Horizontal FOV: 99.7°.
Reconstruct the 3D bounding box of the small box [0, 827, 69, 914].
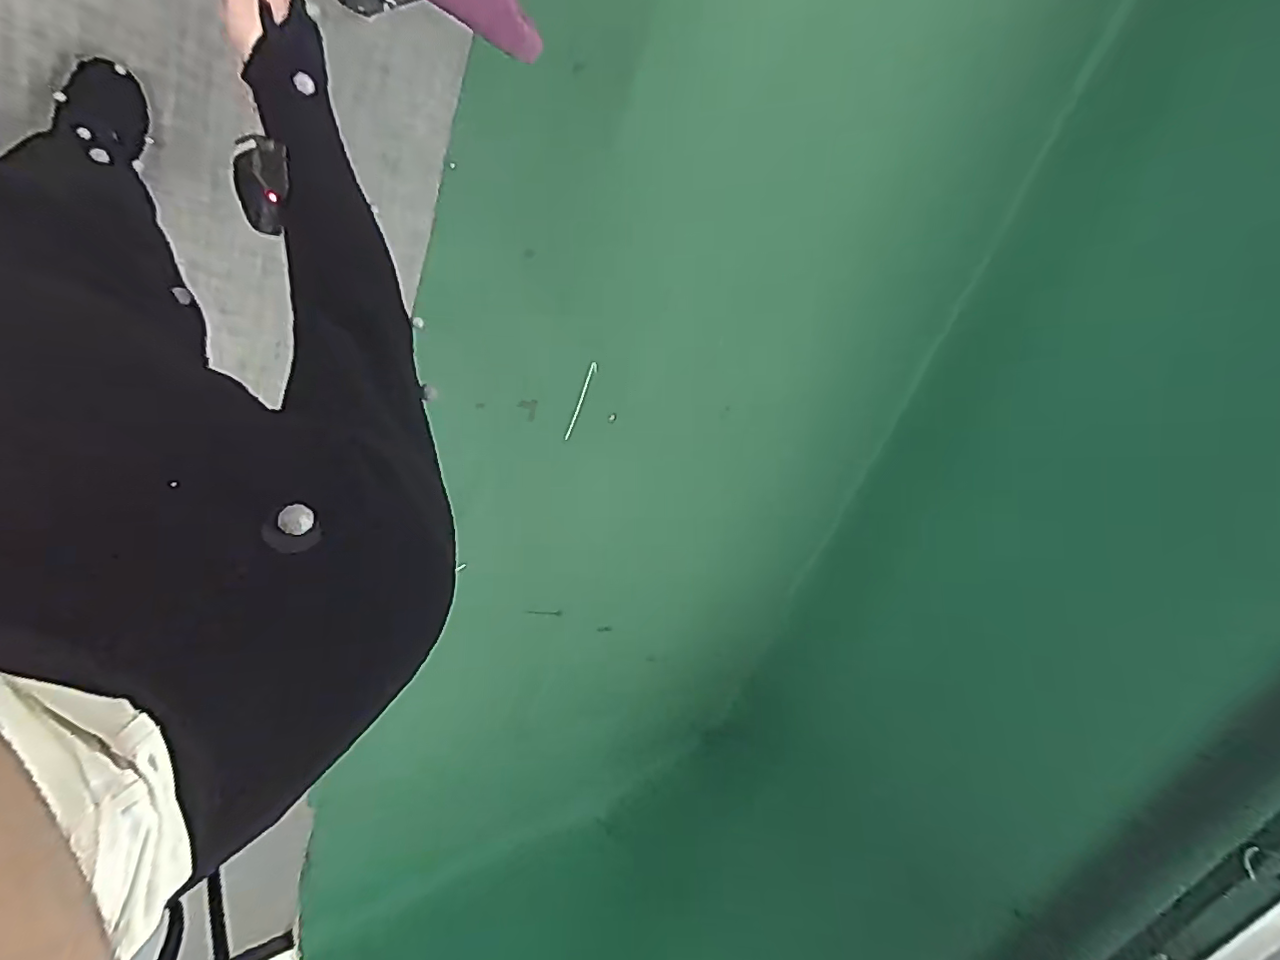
[{"bbox_3d":[-1.362,0.904,1.168,0.168,0.176,0.179,4,117,-45],"label":"small box"}]
